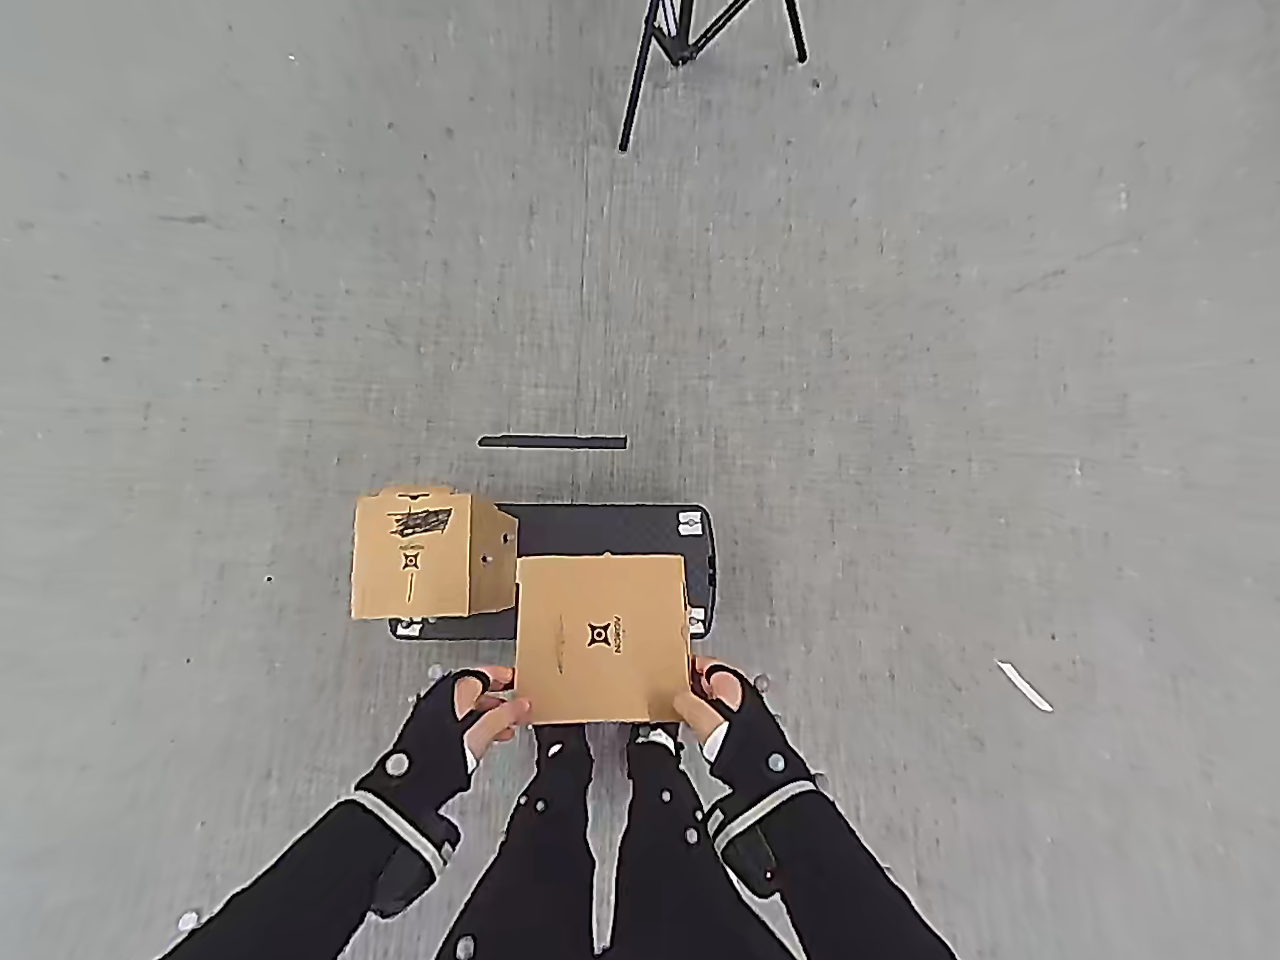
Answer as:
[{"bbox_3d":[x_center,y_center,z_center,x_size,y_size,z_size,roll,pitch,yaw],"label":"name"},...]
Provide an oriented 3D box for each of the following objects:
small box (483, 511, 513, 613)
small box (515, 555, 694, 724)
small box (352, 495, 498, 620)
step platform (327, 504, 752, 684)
[{"bbox_3d":[-0.326,0.153,1.004,0.168,0.176,0.179,0,81,-2],"label":"small box"},{"bbox_3d":[-0.039,0.187,0.625,0.179,0.176,0.168,-2,66,-2],"label":"small box"},{"bbox_3d":[-0.322,0.121,0.843,0.168,0.176,0.179,-1,81,-2],"label":"small box"},{"bbox_3d":[-0.161,0.195,0.967,0.684,0.204,0.286,0,80,-2],"label":"step platform"}]
